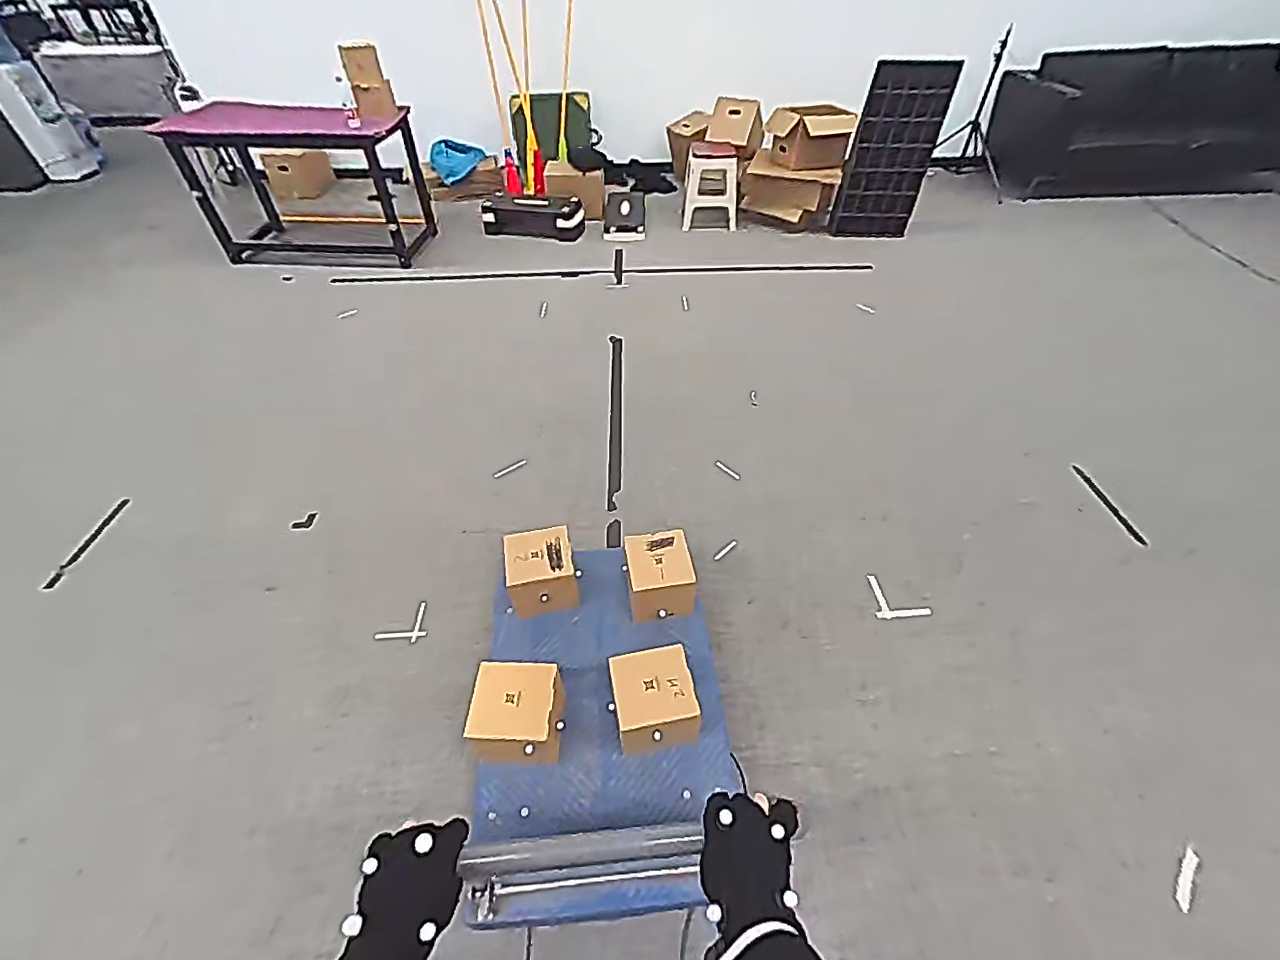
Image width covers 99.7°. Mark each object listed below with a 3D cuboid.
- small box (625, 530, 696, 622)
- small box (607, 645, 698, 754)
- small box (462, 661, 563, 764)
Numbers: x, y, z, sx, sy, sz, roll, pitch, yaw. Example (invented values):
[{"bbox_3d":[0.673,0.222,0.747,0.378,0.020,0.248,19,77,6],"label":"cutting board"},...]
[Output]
[{"bbox_3d":[0.048,0.261,1.467,0.168,0.176,0.179,-7,47,-6],"label":"small box"},{"bbox_3d":[0.027,0.503,1.233,0.179,0.176,0.168,-8,47,-7],"label":"small box"},{"bbox_3d":[-0.277,0.526,1.217,0.179,0.176,0.168,2,45,0],"label":"small box"}]
